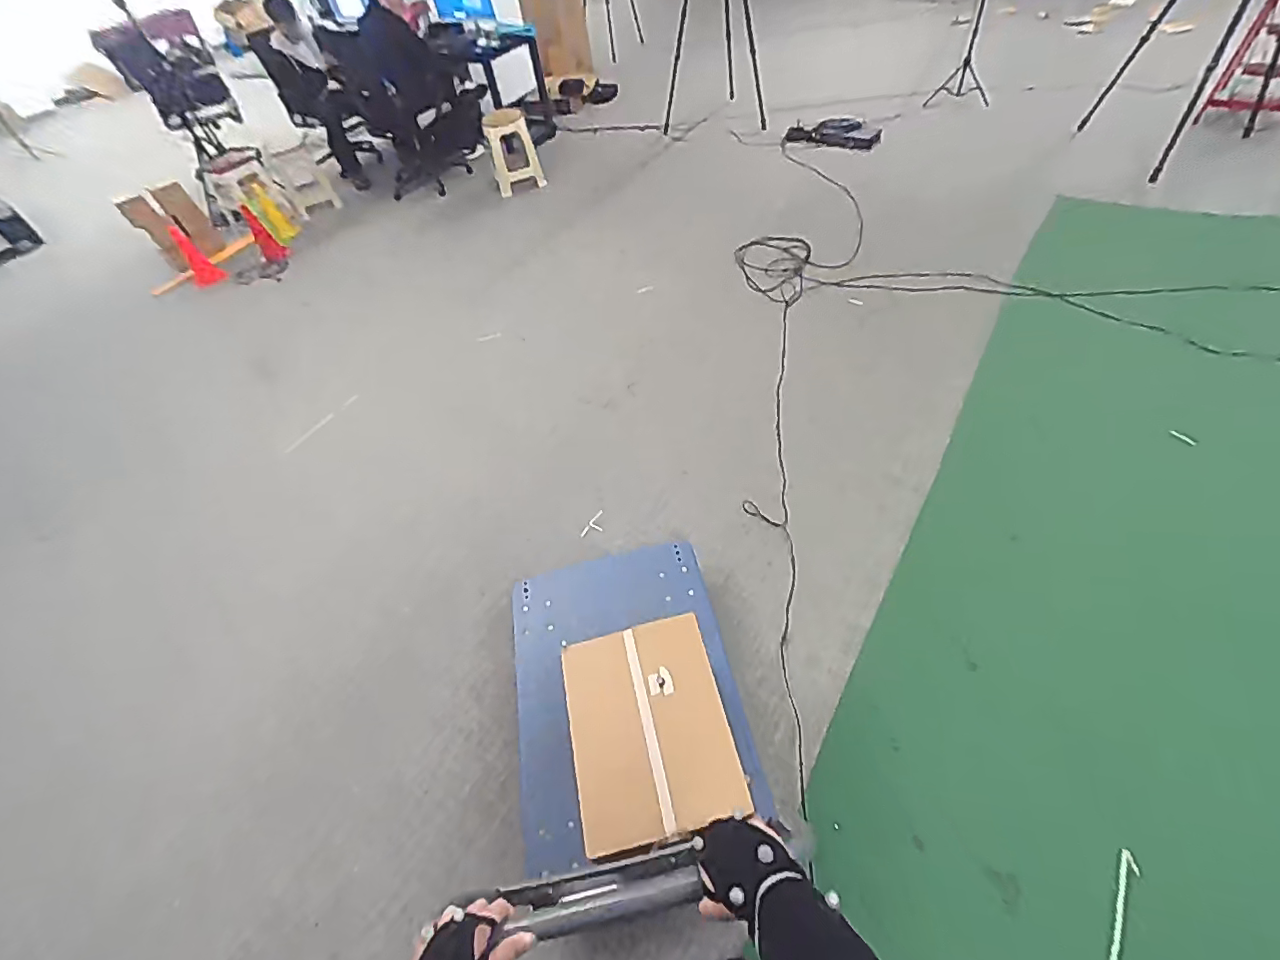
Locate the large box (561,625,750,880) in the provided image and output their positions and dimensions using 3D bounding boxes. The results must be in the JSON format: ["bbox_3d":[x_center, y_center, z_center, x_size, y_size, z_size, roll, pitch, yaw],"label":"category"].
[{"bbox_3d":[0.032,0.607,1.214,0.320,0.320,0.408,-14,49,-3],"label":"large box"}]
